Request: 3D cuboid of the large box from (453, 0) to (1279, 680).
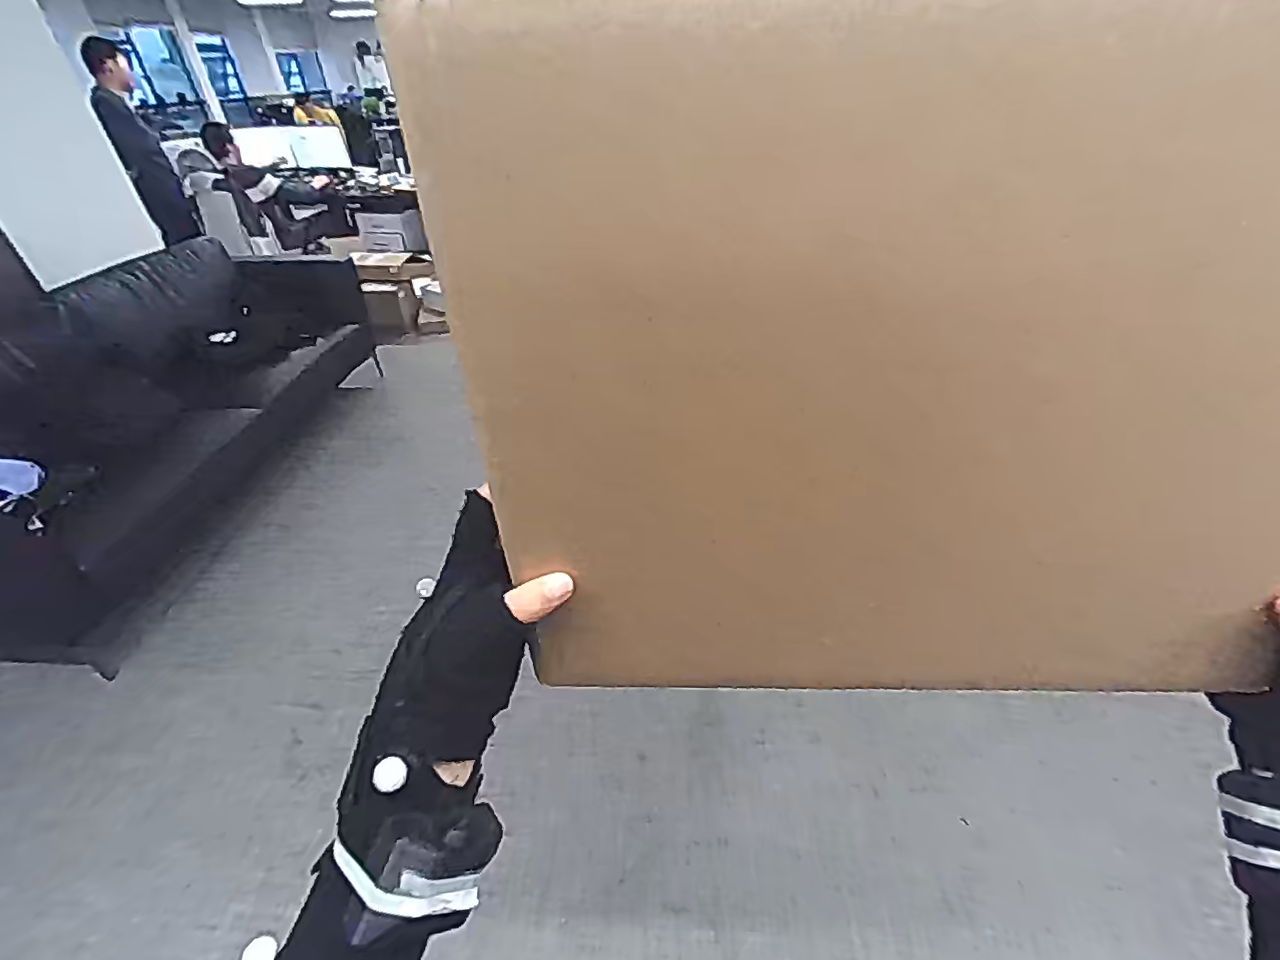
[{"bbox_3d":[0.145,-0.091,0.356,0.408,0.320,0.320,0,34,2],"label":"large box"}]
